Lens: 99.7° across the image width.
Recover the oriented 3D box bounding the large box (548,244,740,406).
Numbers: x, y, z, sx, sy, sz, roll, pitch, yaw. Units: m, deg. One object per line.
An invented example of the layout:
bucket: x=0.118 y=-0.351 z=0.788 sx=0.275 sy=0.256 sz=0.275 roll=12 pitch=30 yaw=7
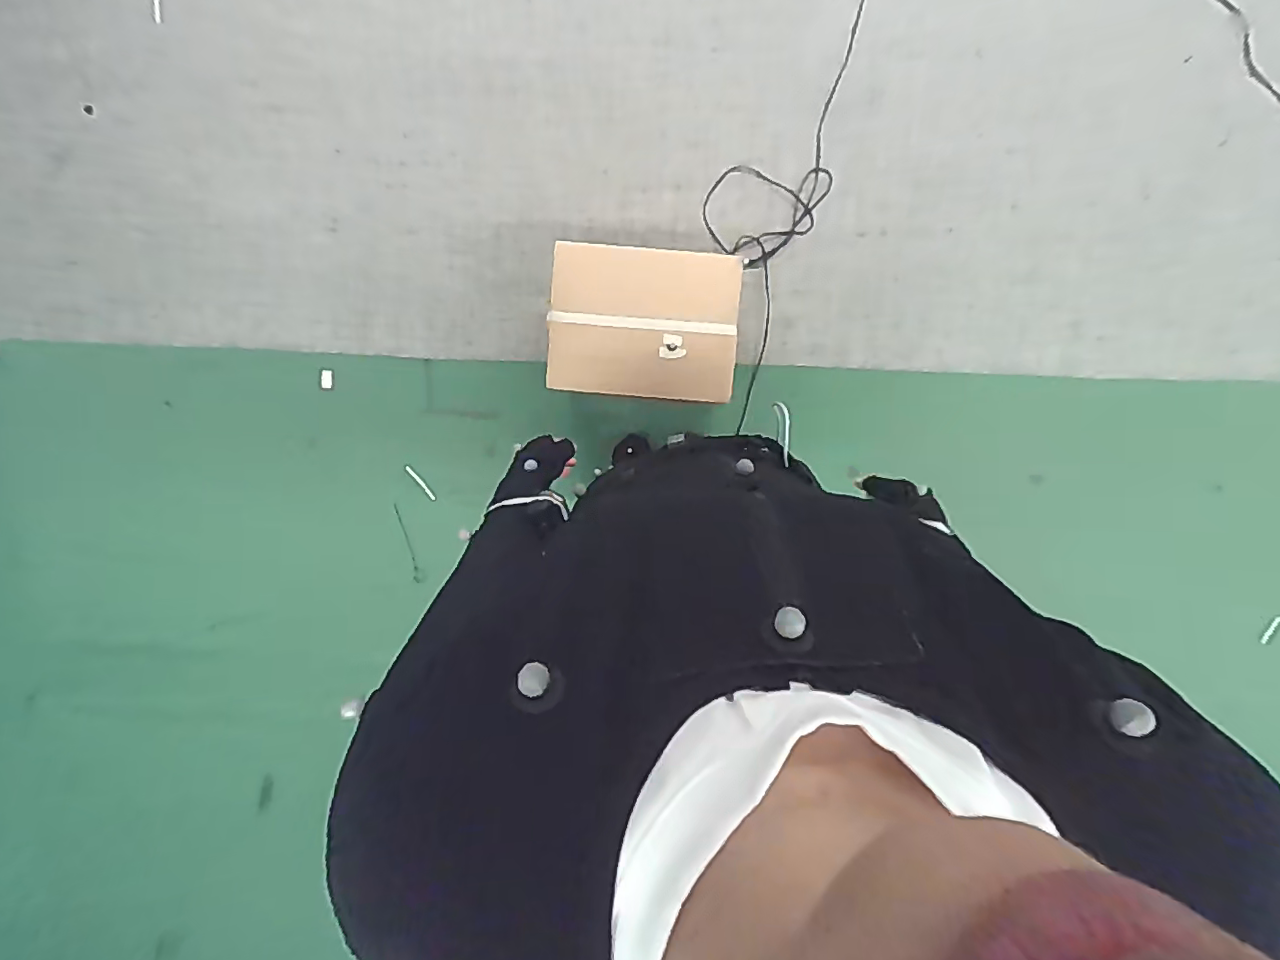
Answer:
large box: x=0.004 y=-0.350 z=1.308 sx=0.408 sy=0.320 sz=0.320 roll=4 pitch=96 yaw=-1
